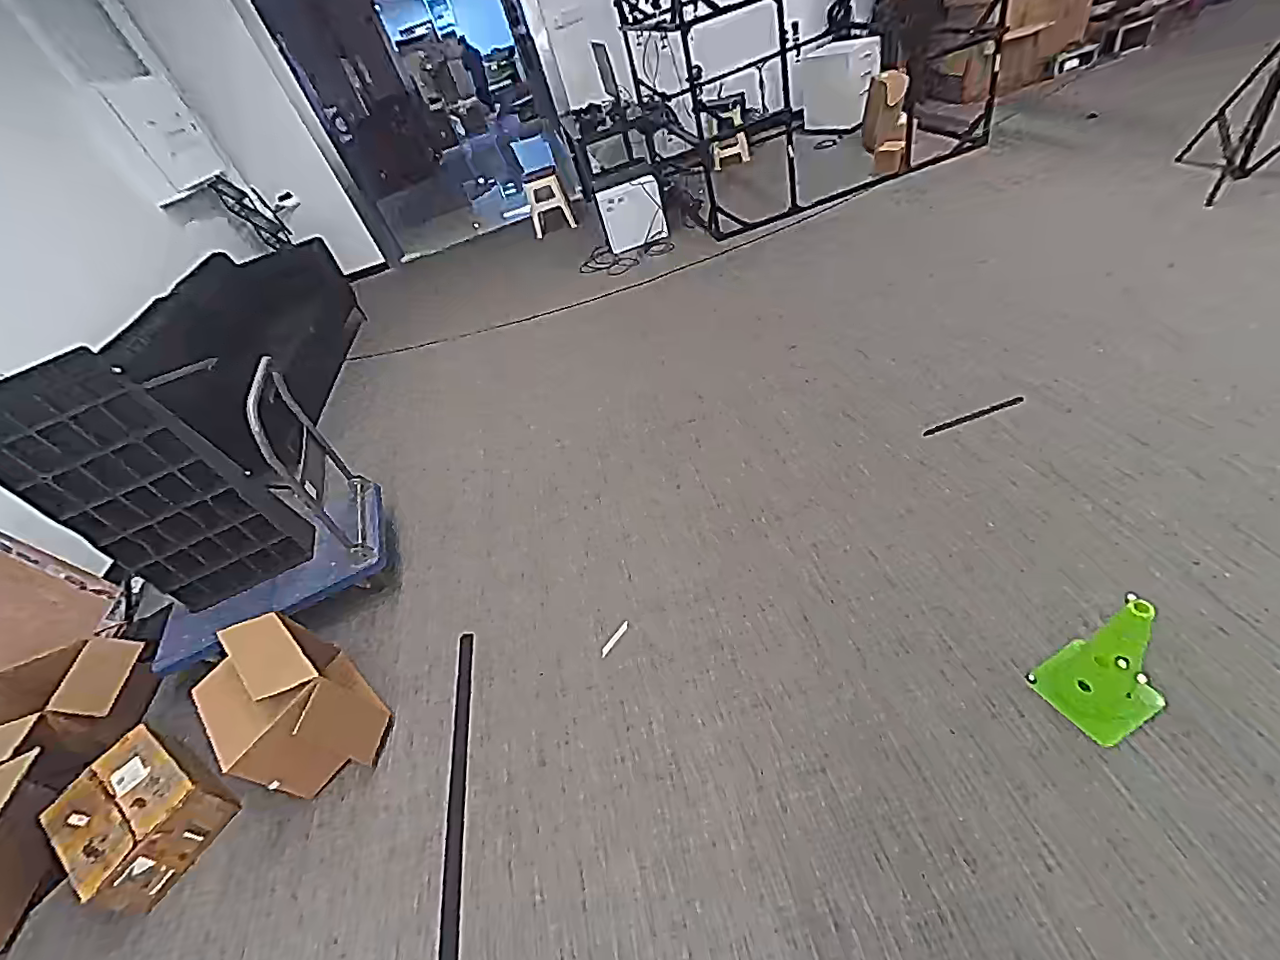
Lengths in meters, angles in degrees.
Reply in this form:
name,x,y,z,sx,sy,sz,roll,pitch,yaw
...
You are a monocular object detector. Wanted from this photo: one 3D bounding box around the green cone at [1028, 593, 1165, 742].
name,x,y,z,sx,sy,sz,roll,pitch,yaw
green cone,1.027,0.366,1.161,0.202,0.368,0.200,-29,42,-11
